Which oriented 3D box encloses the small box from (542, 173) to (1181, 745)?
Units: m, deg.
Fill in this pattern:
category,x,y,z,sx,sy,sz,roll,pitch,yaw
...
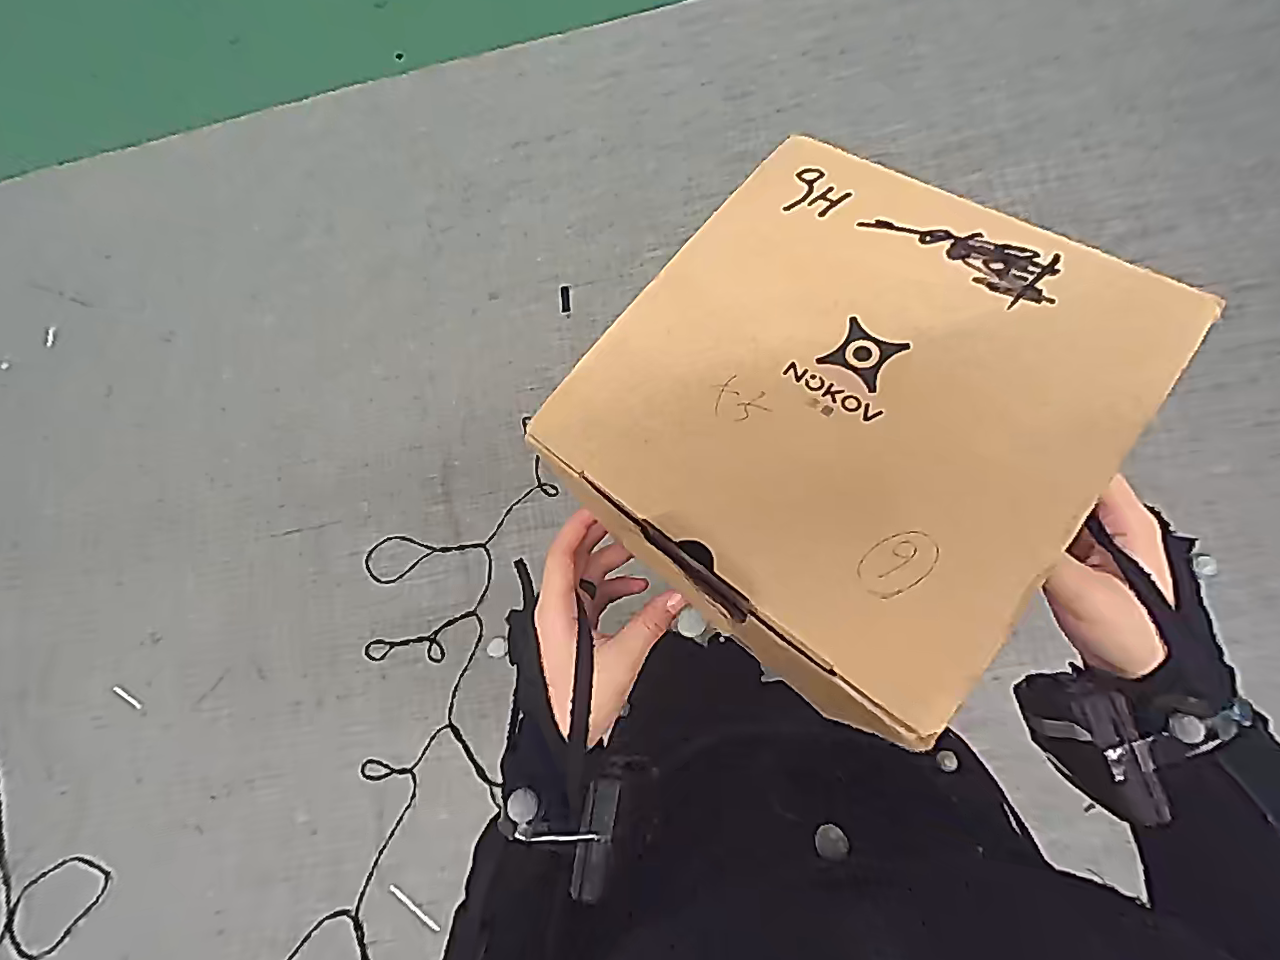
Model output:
category,x,y,z,sx,sy,sz,roll,pitch,yaw
small box,0.088,-0.001,0.275,0.168,0.176,0.179,37,80,20
